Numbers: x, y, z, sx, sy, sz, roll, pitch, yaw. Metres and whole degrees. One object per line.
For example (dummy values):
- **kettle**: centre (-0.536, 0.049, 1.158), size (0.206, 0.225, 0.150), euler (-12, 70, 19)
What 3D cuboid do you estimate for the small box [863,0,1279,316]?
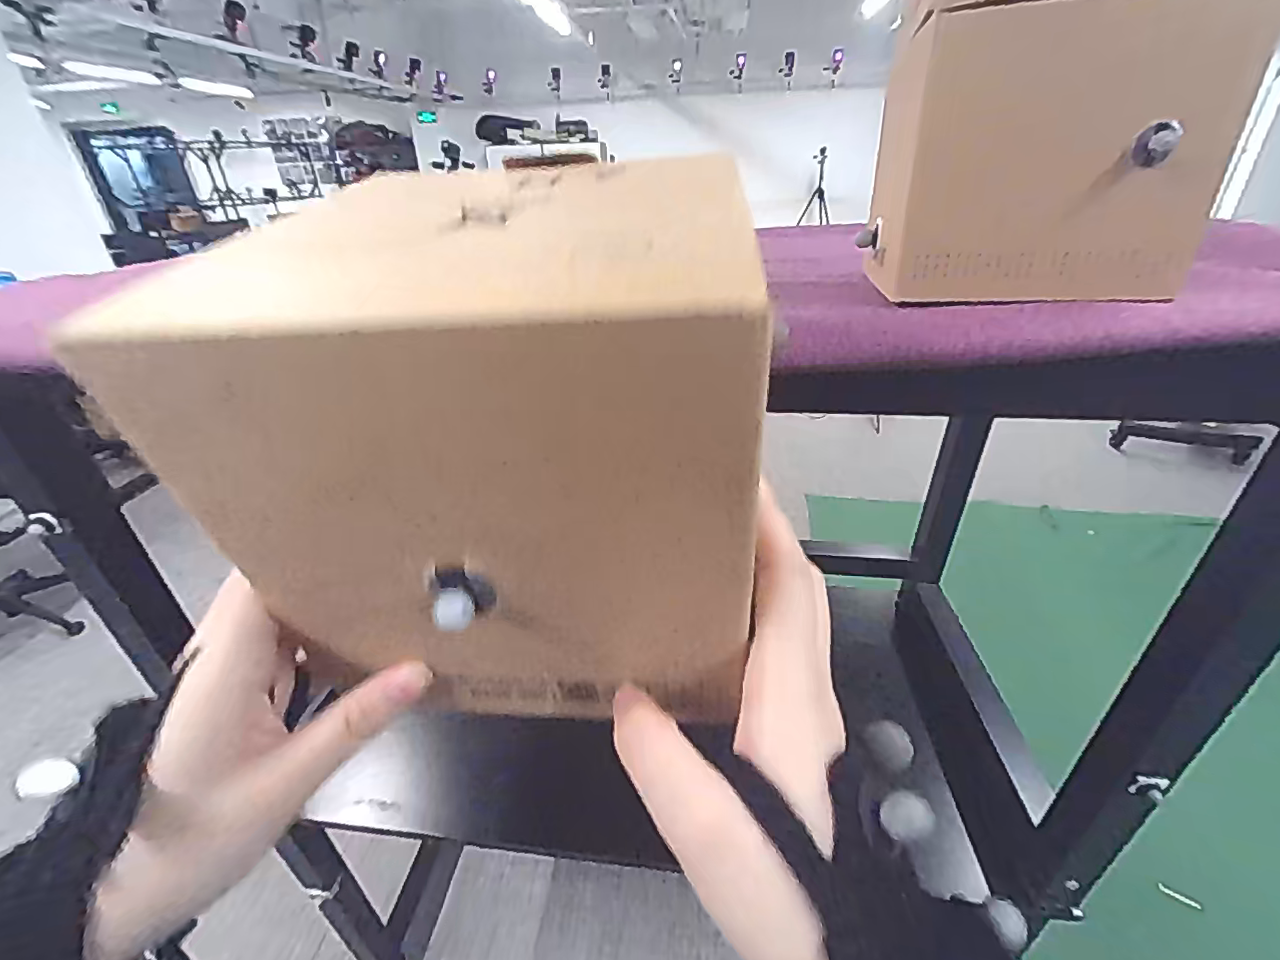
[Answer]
- **small box**: centre (0.281, -0.225, 0.408), size (0.179, 0.176, 0.168), euler (3, 27, 13)

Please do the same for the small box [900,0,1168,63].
- **small box**: centre (0.274, -0.372, 0.339), size (0.179, 0.176, 0.168), euler (6, 28, 15)

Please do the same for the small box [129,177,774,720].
- **small box**: centre (-0.034, -0.016, 0.239), size (0.168, 0.176, 0.179), euler (0, 40, 7)
